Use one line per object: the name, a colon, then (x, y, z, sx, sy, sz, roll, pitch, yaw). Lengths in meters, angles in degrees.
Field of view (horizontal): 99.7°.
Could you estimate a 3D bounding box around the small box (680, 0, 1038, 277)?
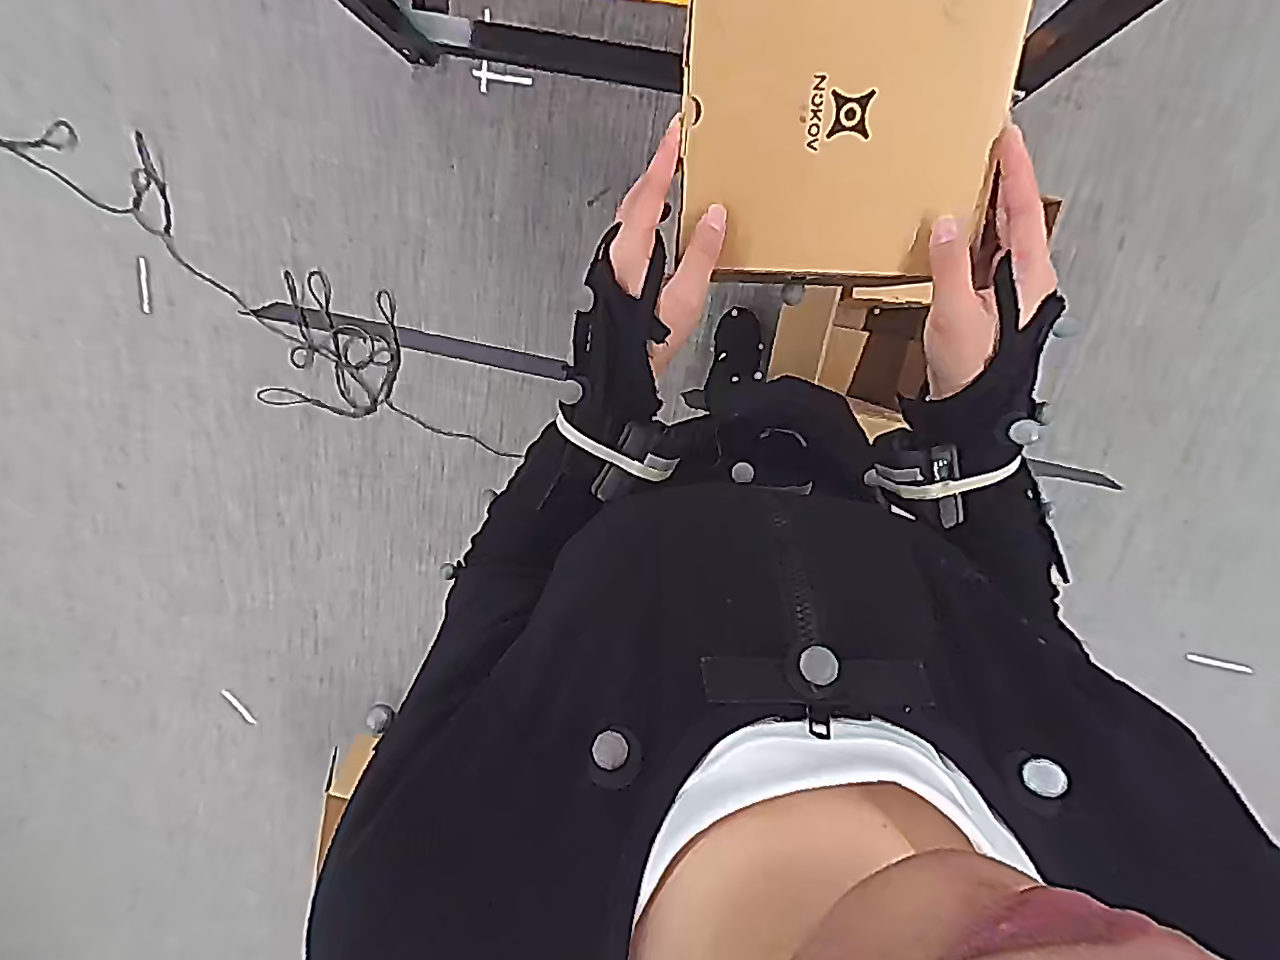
small box: (0.120, -0.231, 0.368, 0.179, 0.176, 0.168, 3, 109, 4)
